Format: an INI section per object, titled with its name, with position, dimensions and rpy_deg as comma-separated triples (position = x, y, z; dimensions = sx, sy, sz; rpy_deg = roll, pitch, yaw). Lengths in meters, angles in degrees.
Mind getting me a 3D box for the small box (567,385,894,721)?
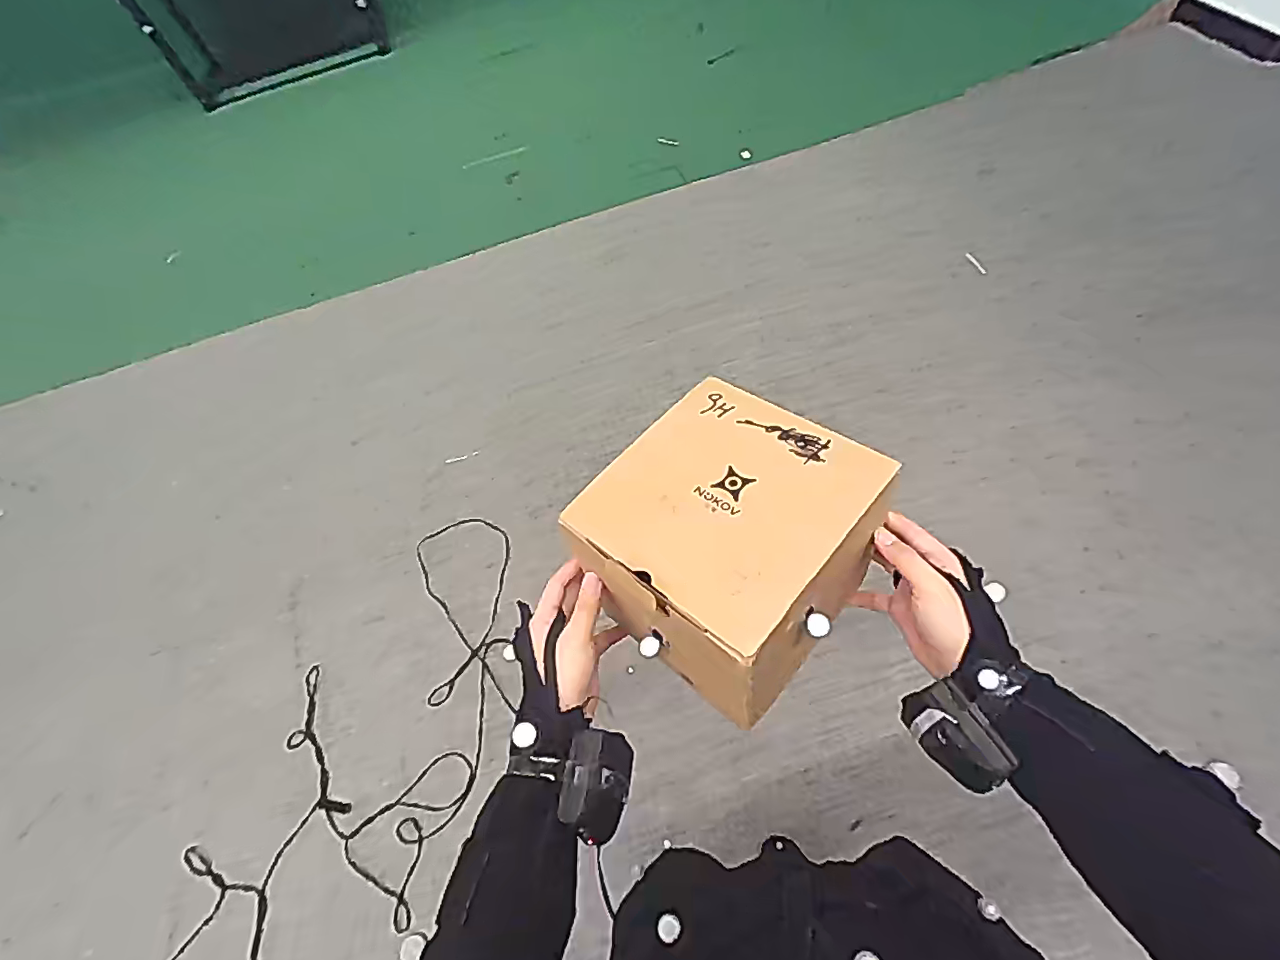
[small box]
position = 0.075, 0.062, 0.441
dimensions = 0.168, 0.176, 0.179
rpy_deg = 33, 66, 31
